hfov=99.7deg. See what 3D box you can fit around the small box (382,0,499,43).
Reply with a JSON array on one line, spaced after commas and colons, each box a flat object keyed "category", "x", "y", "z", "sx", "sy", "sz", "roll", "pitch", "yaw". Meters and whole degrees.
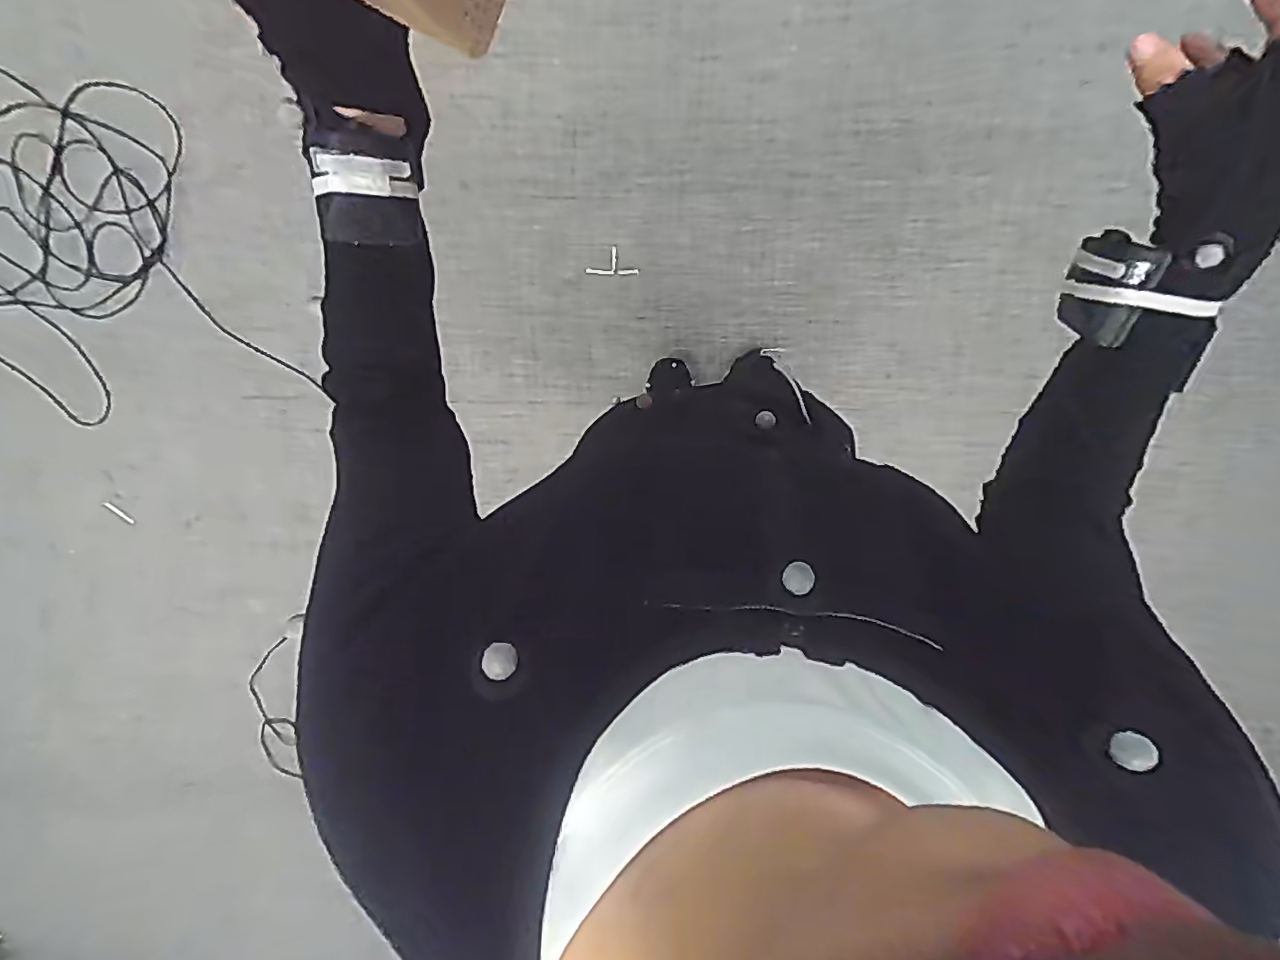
[{"category": "small box", "x": -0.120, "y": -0.299, "z": 0.165, "sx": 0.168, "sy": 0.176, "sz": 0.179, "roll": 32, "pitch": 110, "yaw": 2}]
